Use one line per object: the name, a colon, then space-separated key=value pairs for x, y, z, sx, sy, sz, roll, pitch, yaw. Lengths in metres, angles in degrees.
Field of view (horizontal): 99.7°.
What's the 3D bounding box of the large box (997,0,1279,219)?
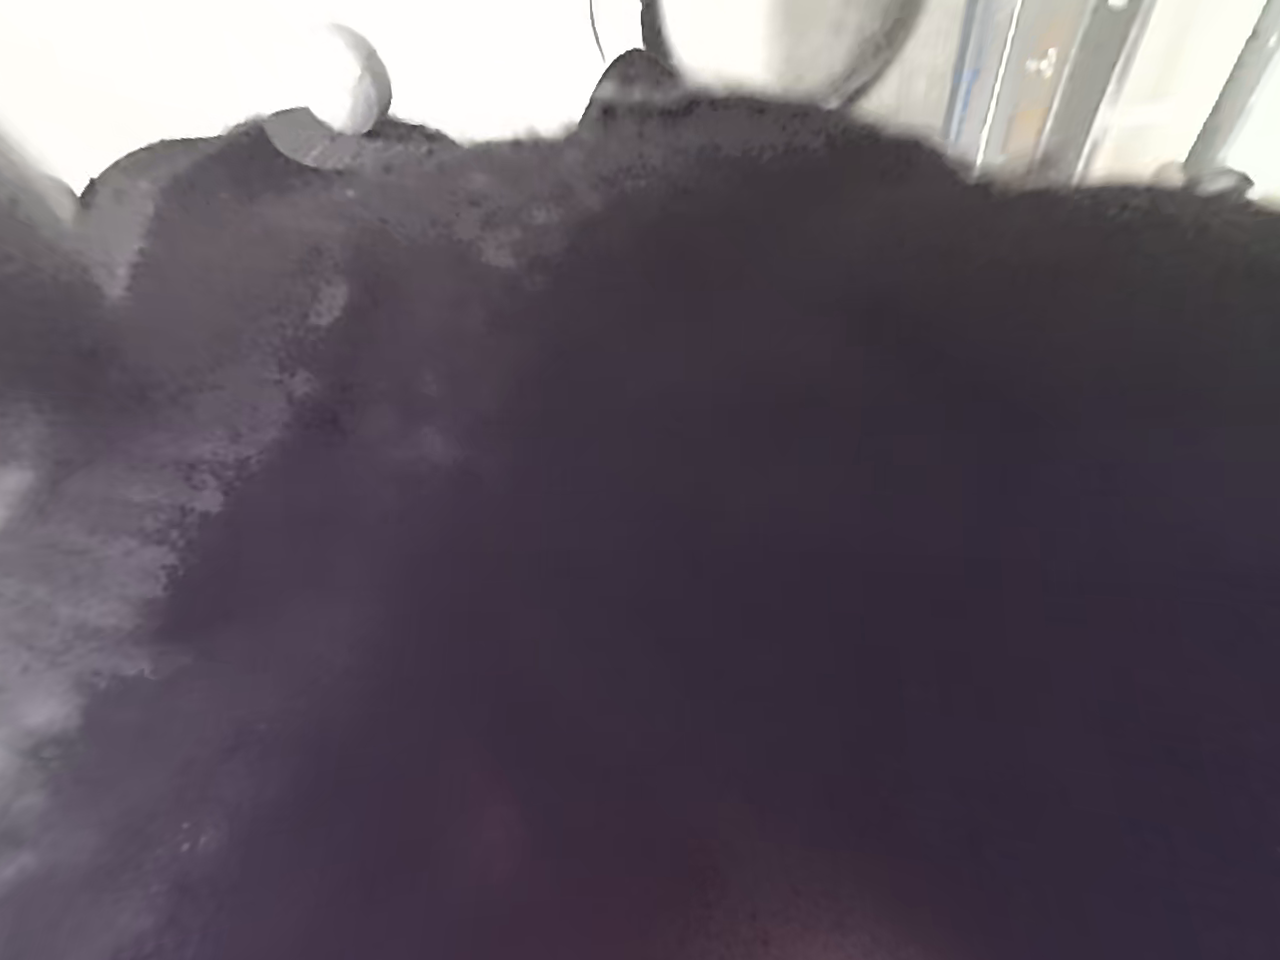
large box: x=0.873 y=-0.665 z=0.859 sx=0.408 sy=0.320 sz=0.320 roll=-5 pitch=138 yaw=11
